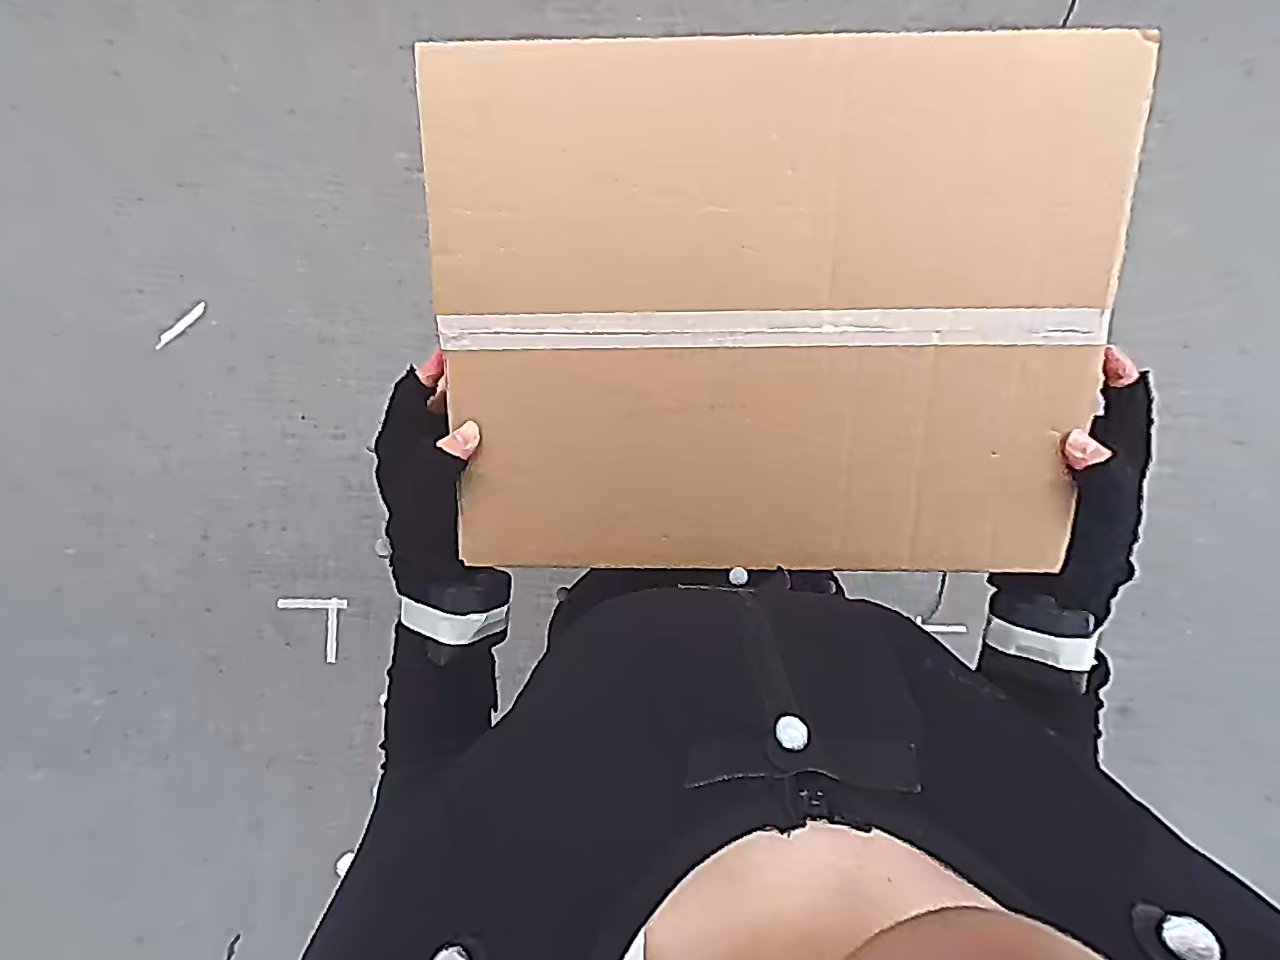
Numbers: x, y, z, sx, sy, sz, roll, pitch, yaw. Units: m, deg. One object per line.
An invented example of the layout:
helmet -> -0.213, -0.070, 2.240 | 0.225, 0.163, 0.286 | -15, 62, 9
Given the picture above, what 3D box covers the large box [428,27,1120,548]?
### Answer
large box -> 0.078, -0.137, 0.487 | 0.408, 0.320, 0.320 | 0, 104, 1
